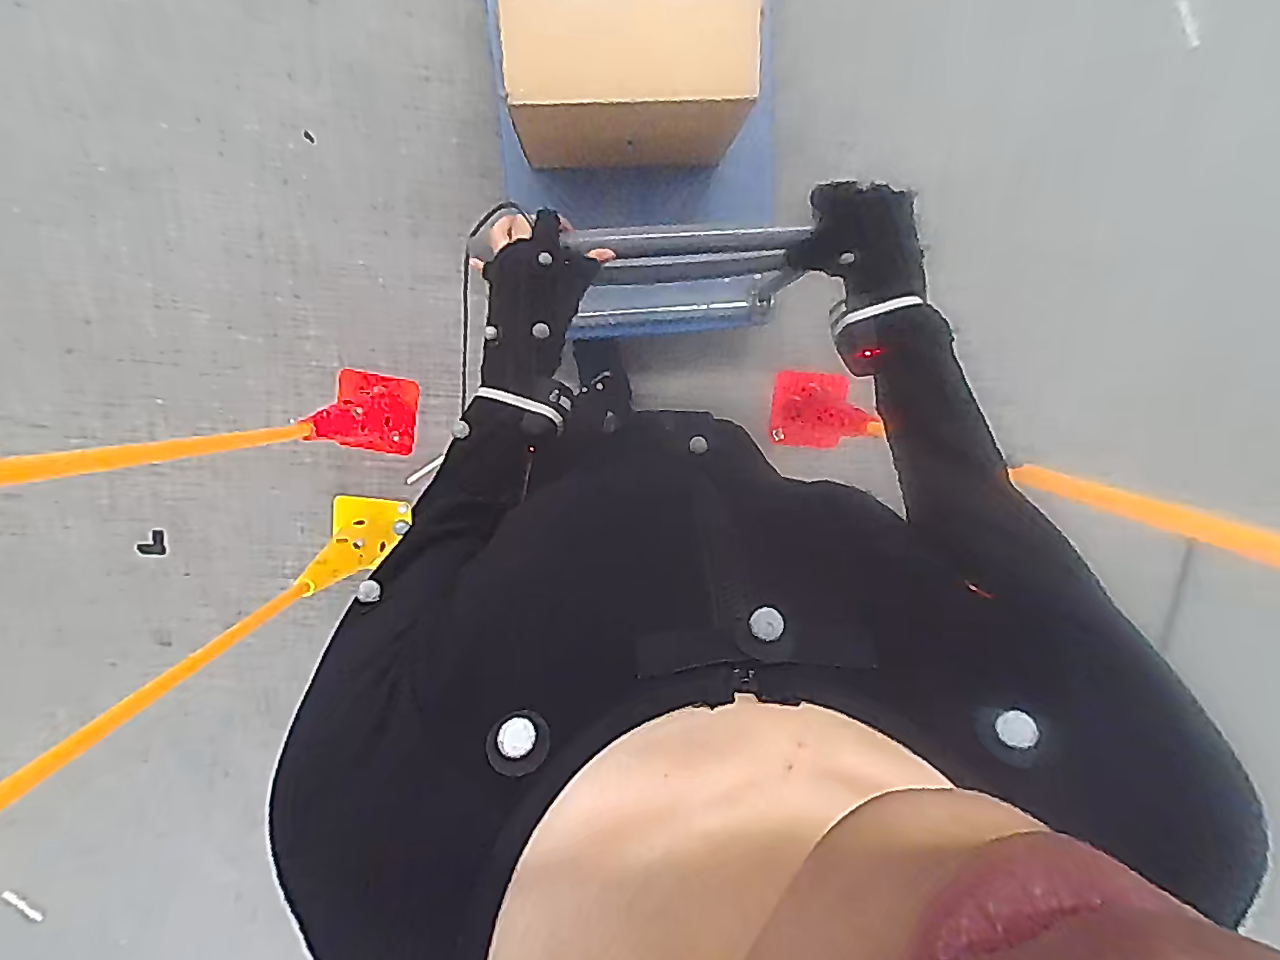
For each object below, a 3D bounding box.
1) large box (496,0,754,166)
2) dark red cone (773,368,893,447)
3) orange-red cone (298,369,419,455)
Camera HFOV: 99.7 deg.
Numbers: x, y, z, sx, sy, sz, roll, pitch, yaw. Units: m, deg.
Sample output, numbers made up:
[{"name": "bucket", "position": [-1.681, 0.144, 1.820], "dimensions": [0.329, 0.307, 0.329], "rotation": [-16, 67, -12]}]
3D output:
[{"name": "large box", "position": [-0.029, -0.786, 0.972], "dimensions": [0.408, 0.320, 0.320], "rotation": [-4, 103, -3]}, {"name": "dark red cone", "position": [0.471, -0.156, 1.275], "dimensions": [0.201, 0.394, 0.202], "rotation": [3, 102, -7]}, {"name": "orange-red cone", "position": [-0.662, -0.139, 1.217], "dimensions": [0.198, 0.360, 0.199], "rotation": [11, 100, -7]}]
